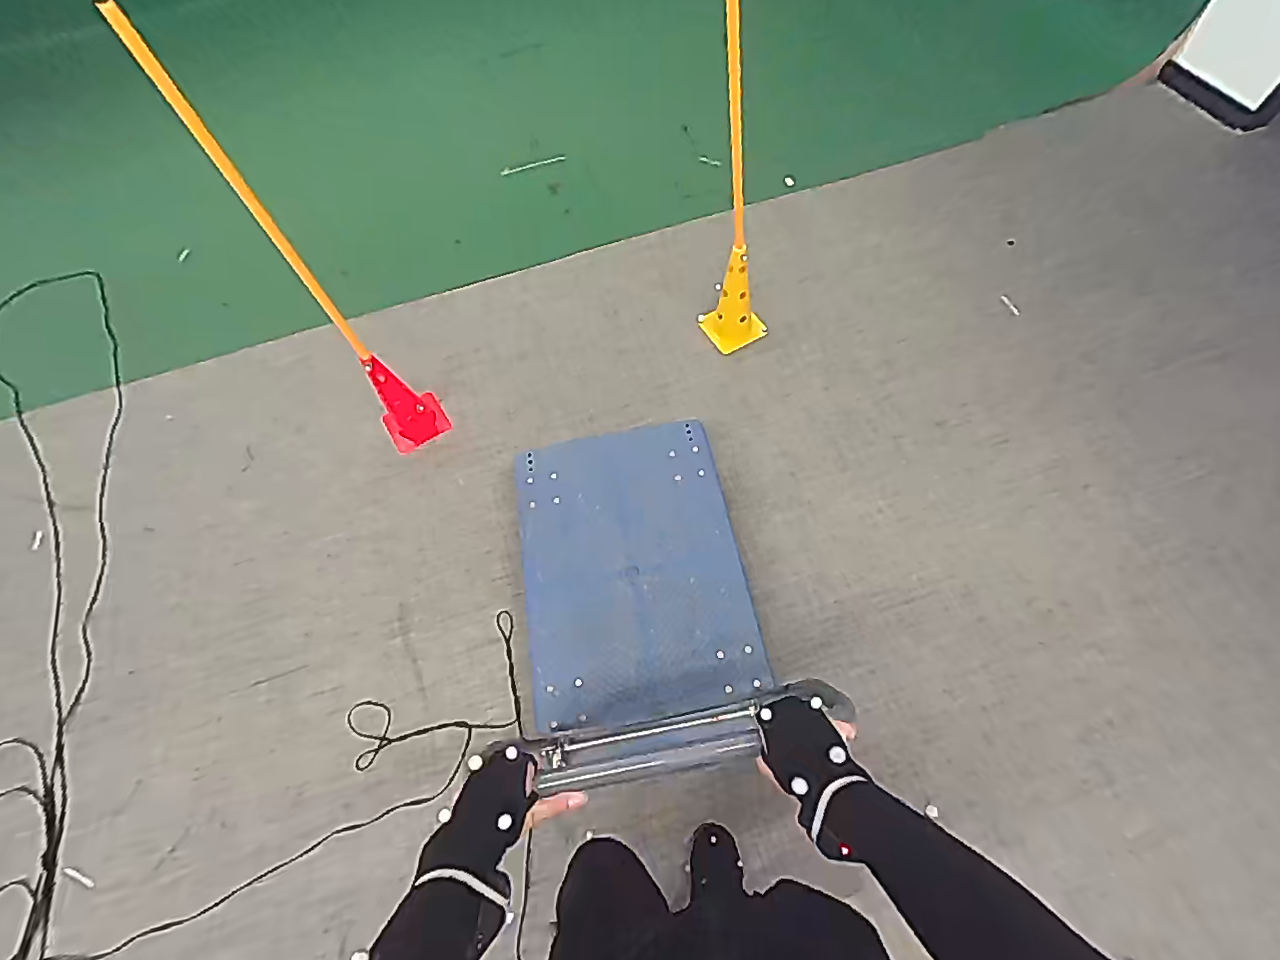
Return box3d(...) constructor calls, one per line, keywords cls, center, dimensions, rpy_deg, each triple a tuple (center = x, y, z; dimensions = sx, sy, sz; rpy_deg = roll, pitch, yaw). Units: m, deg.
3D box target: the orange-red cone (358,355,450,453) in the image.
box3d(cls="orange-red cone", center=(-0.800, -0.276, 1.748), dimensions=(0.199, 0.360, 0.198), rpy_deg=(-32, 64, -10))
